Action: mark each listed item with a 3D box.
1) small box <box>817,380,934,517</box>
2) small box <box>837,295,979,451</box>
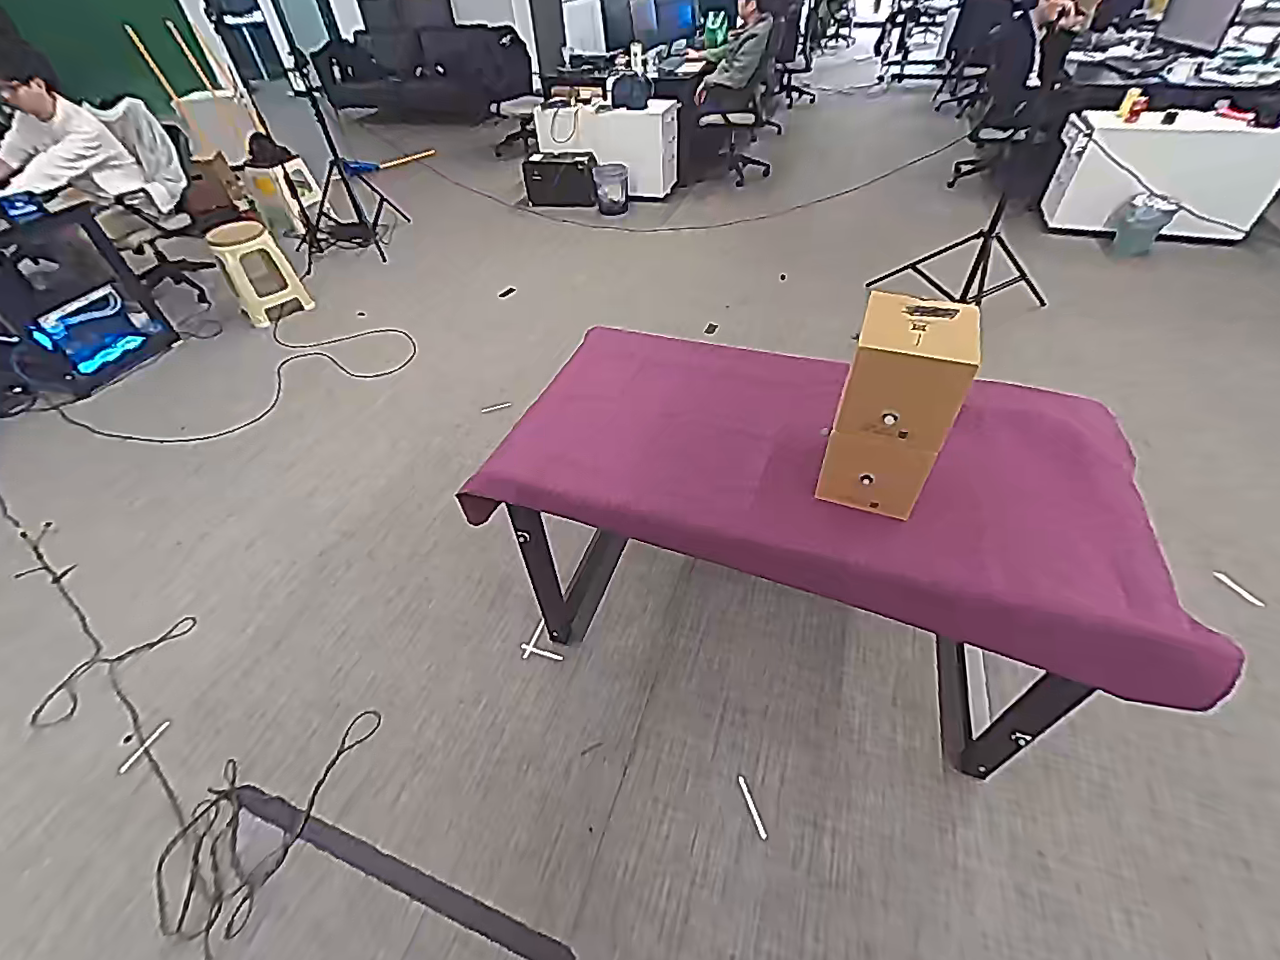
[{"bbox_3d":[0.434,-0.059,0.999,0.168,0.176,0.179,15,48,17],"label":"small box"},{"bbox_3d":[0.431,-0.176,0.884,0.168,0.176,0.179,15,48,18],"label":"small box"}]
